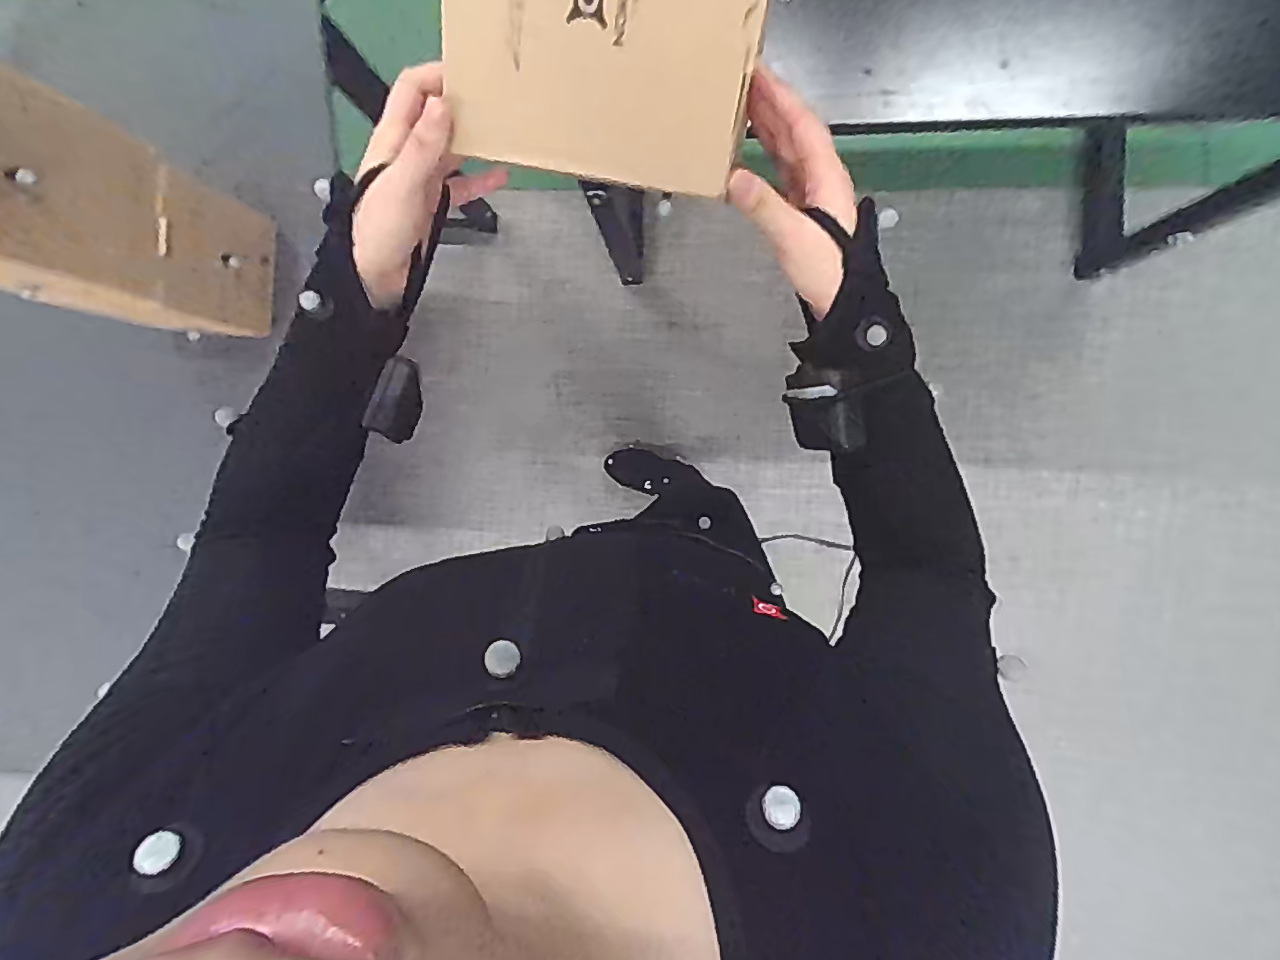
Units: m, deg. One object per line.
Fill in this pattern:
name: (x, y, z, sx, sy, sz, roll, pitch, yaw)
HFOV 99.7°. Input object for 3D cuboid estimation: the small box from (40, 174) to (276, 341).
small box: (-0.620, -0.284, 0.713, 0.179, 0.176, 0.168, 5, 94, 7)

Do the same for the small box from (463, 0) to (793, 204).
small box: (0.004, -0.286, 0.353, 0.179, 0.176, 0.168, 13, 117, 6)

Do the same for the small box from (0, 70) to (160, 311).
small box: (-0.640, -0.285, 0.552, 0.168, 0.176, 0.179, 4, 94, 7)
